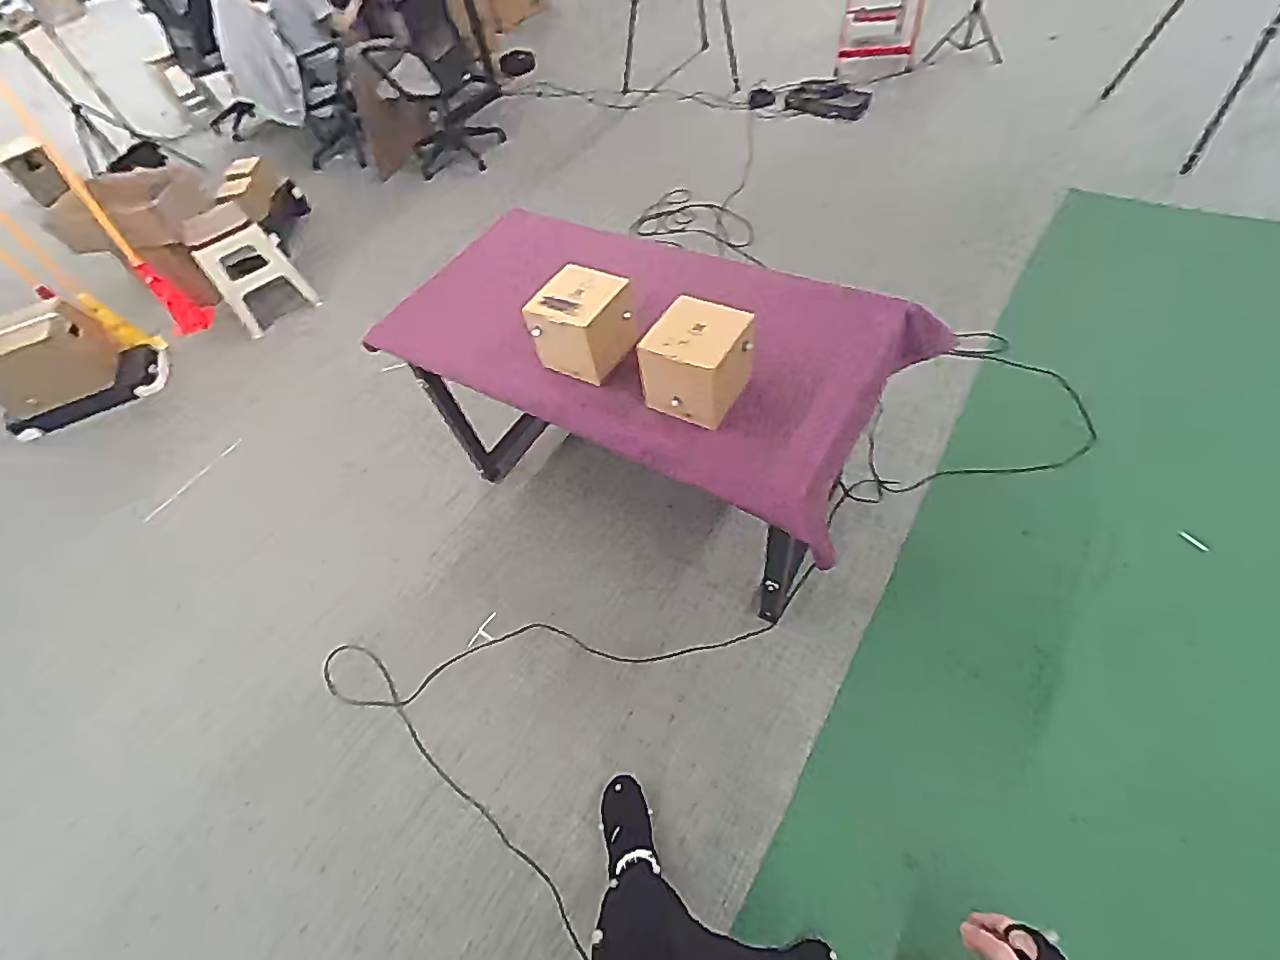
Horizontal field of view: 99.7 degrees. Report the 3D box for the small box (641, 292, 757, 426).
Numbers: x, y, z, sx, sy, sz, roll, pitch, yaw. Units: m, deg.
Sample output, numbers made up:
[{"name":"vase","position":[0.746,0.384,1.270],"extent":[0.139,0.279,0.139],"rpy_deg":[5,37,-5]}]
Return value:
[{"name":"small box","position":[0.121,-0.244,1.100],"extent":[0.168,0.176,0.179],"rpy_deg":[25,62,24]}]
